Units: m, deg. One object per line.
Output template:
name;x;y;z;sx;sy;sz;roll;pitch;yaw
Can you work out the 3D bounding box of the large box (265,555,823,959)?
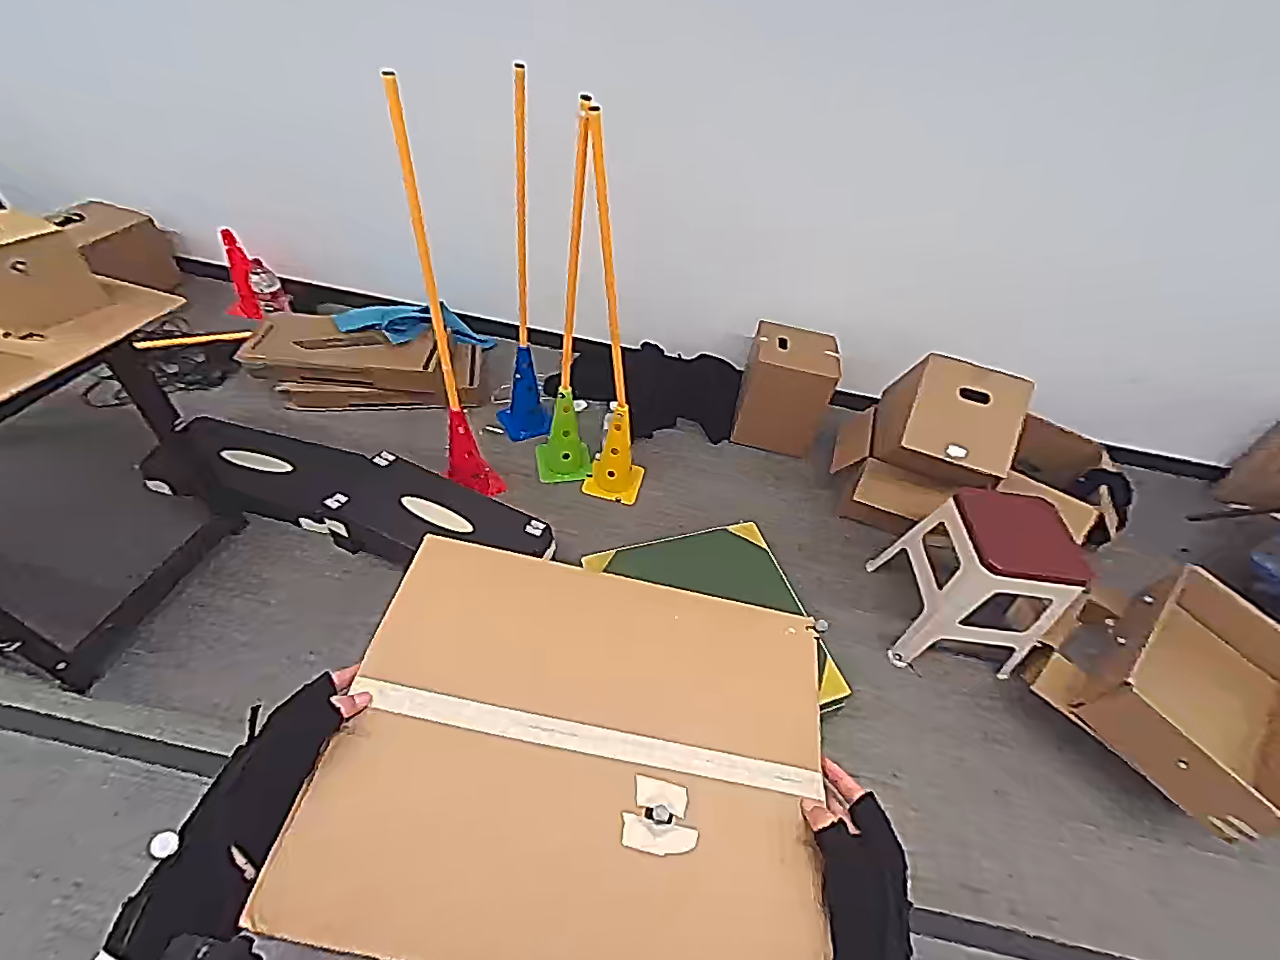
large box;-0.066;0.322;0.579;0.408;0.320;0.320;13;52;-2
